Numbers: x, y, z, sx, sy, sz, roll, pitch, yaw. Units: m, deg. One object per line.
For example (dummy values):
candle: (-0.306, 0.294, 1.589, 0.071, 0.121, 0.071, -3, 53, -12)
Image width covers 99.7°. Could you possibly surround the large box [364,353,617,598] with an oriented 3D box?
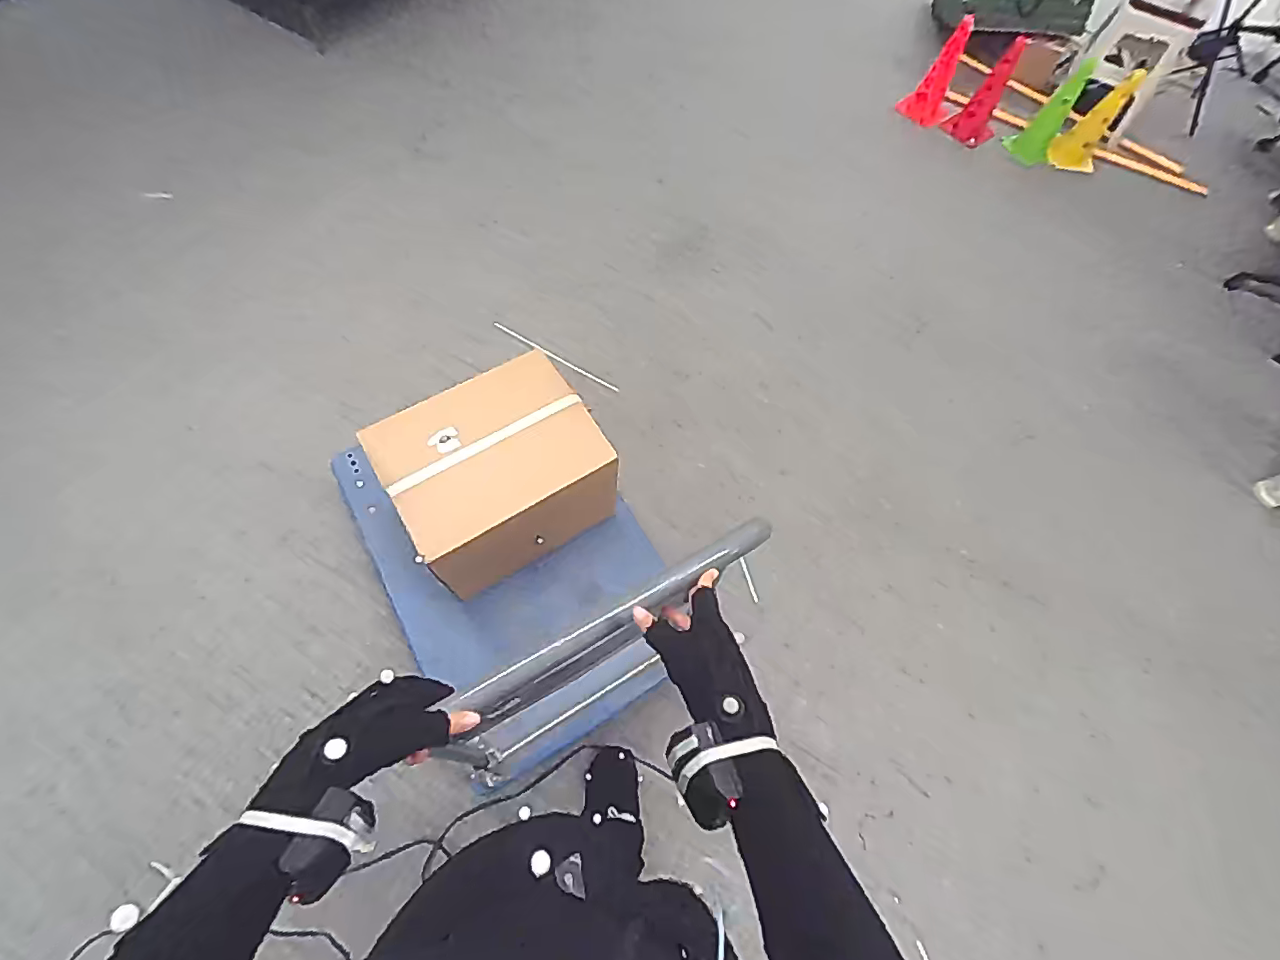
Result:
large box: (-0.298, 0.000, 1.189, 0.408, 0.320, 0.320, -31, 70, -16)
